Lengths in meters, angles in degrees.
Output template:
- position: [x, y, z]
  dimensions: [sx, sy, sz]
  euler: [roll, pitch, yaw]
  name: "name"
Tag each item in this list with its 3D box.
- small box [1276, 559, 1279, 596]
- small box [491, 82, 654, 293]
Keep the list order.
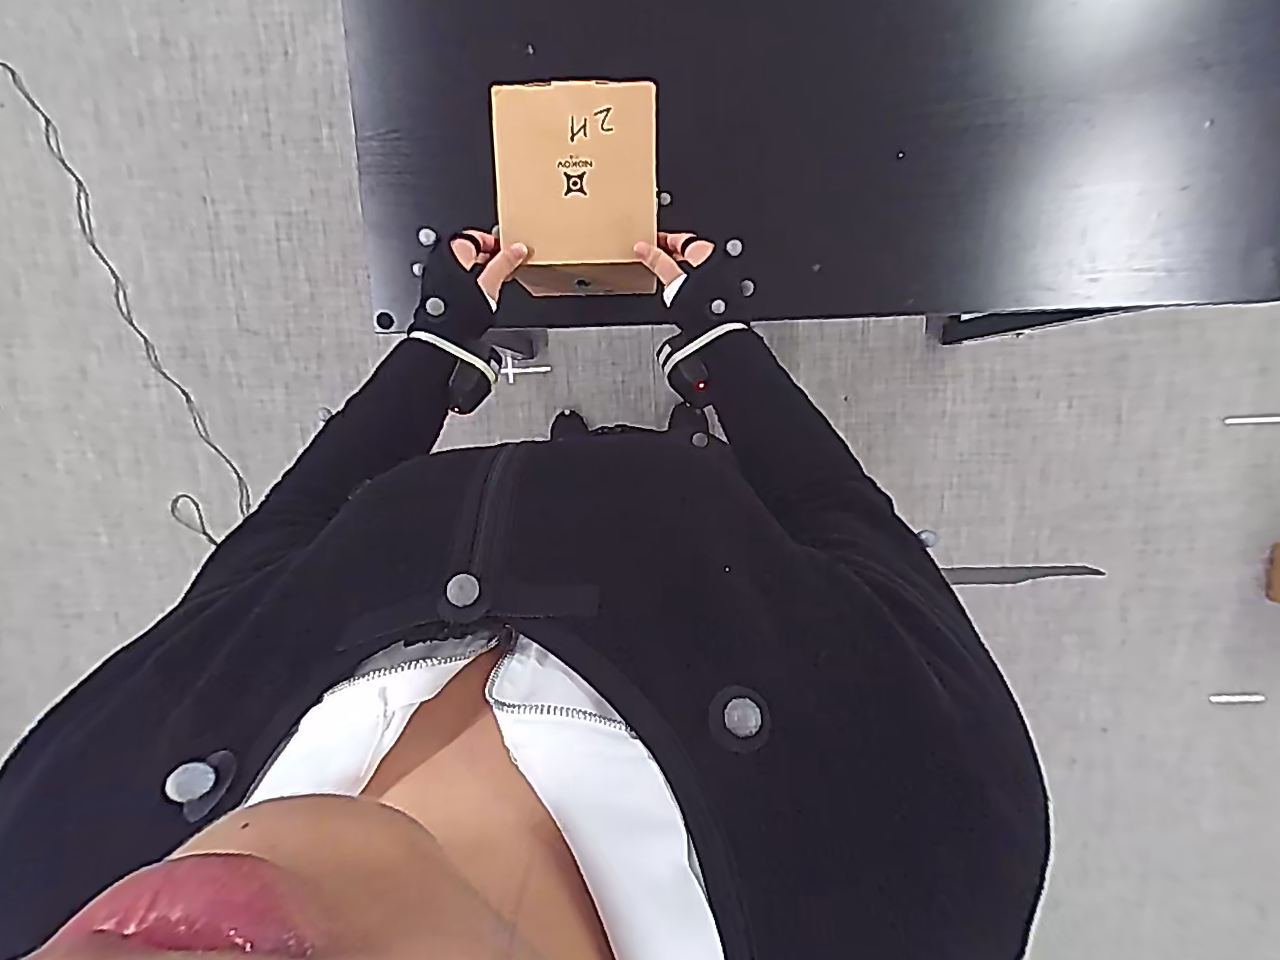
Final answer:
- position: [1.829, 0.258, 1.403]
  dimensions: [0.168, 0.176, 0.179]
  euler: [-3, 97, 1]
  name: "small box"
- position: [-0.066, -0.322, 0.633]
  dimensions: [0.168, 0.176, 0.179]
  euler: [-1, 97, 1]
  name: "small box"
